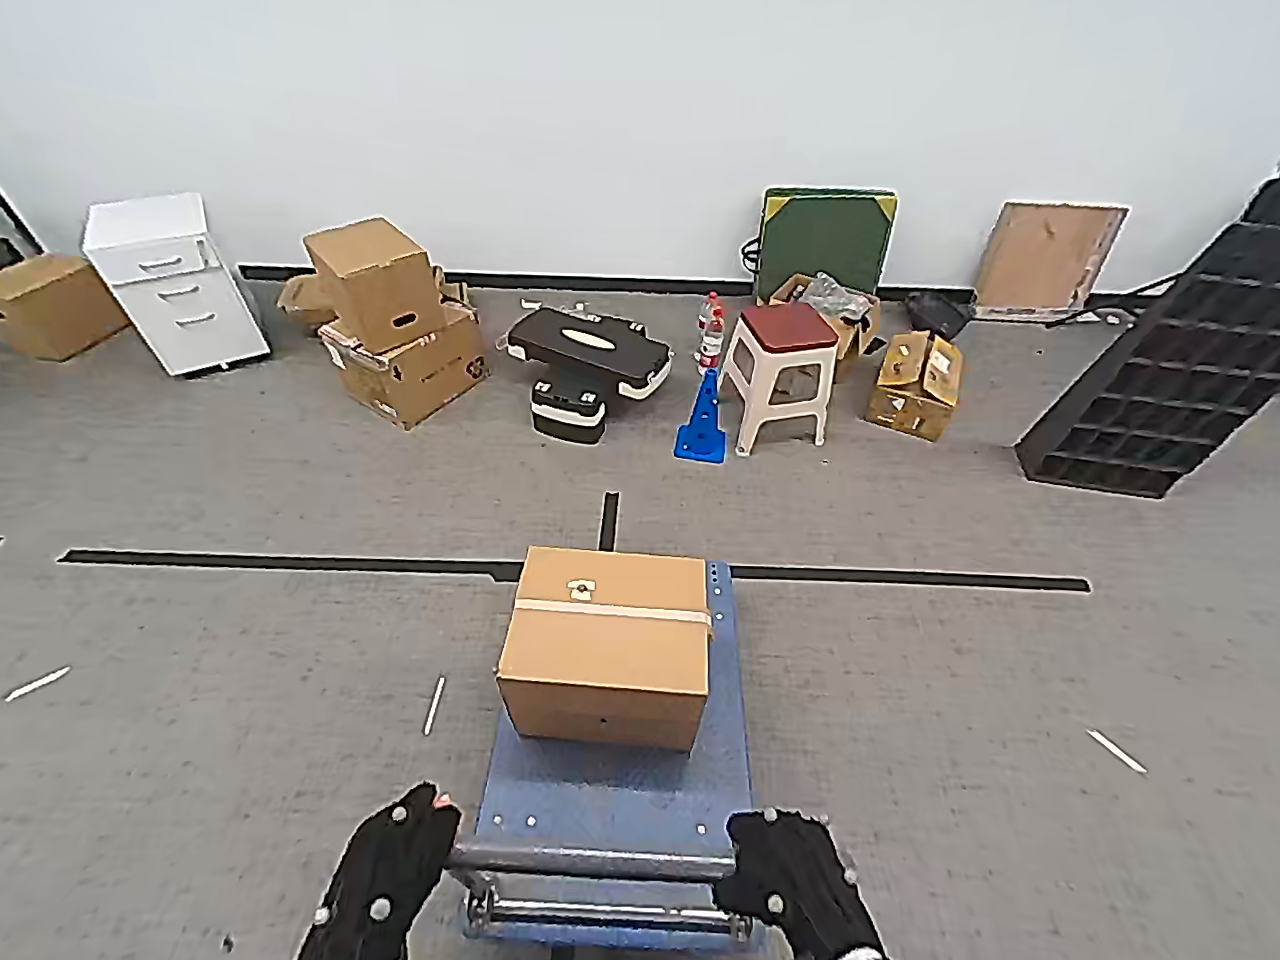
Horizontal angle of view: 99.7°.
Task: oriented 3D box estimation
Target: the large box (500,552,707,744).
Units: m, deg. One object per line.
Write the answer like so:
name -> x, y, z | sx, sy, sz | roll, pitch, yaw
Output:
large box -> -0.063, 0.387, 1.236 | 0.408, 0.320, 0.320 | 4, 46, 2
